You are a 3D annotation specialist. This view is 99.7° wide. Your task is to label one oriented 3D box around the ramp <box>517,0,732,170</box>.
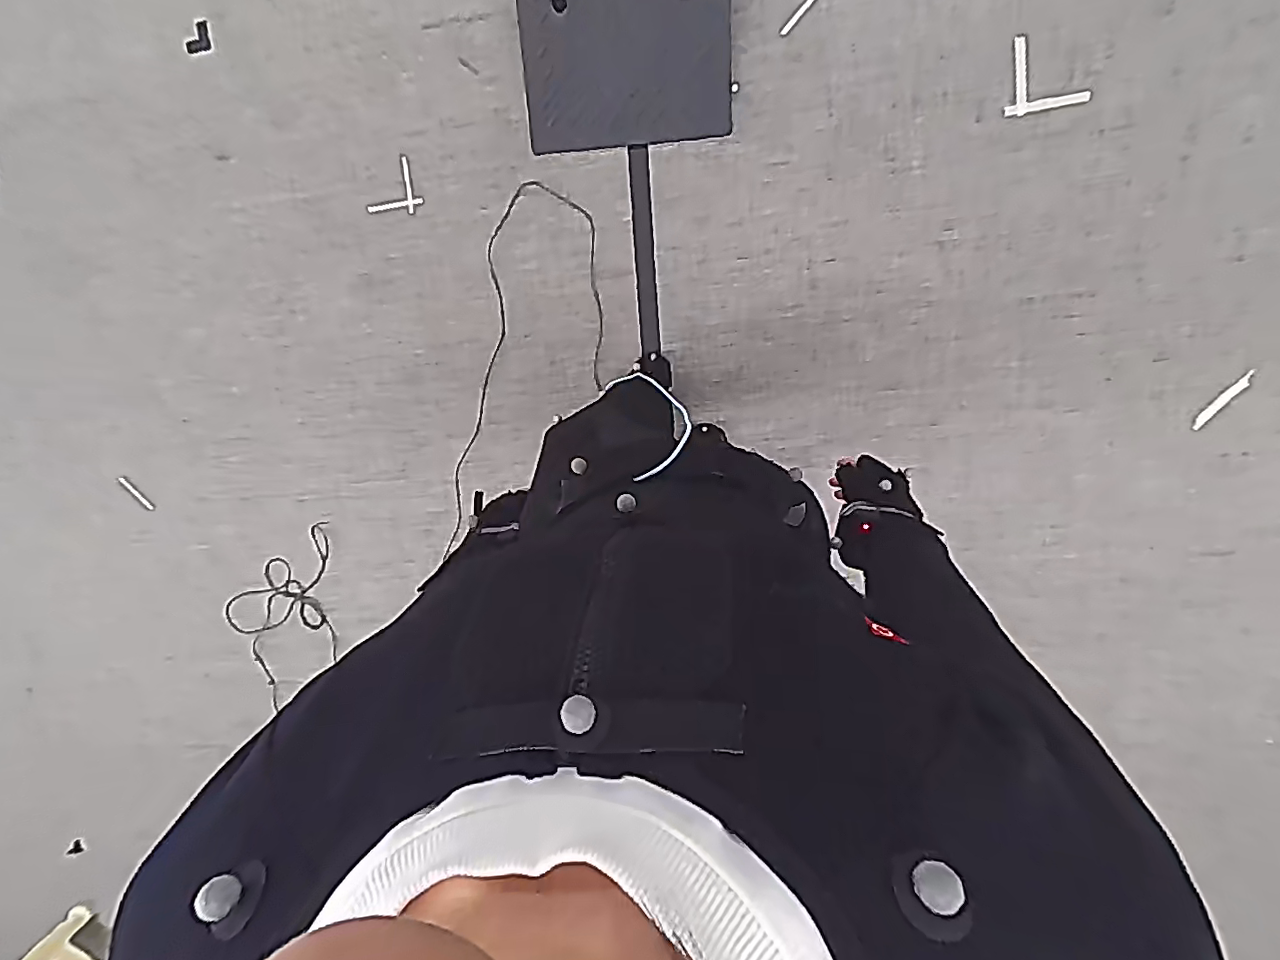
[{"bbox_3d":[-0.058,-1.272,1.190,0.509,0.206,0.991,-4,98,7],"label":"ramp"}]
